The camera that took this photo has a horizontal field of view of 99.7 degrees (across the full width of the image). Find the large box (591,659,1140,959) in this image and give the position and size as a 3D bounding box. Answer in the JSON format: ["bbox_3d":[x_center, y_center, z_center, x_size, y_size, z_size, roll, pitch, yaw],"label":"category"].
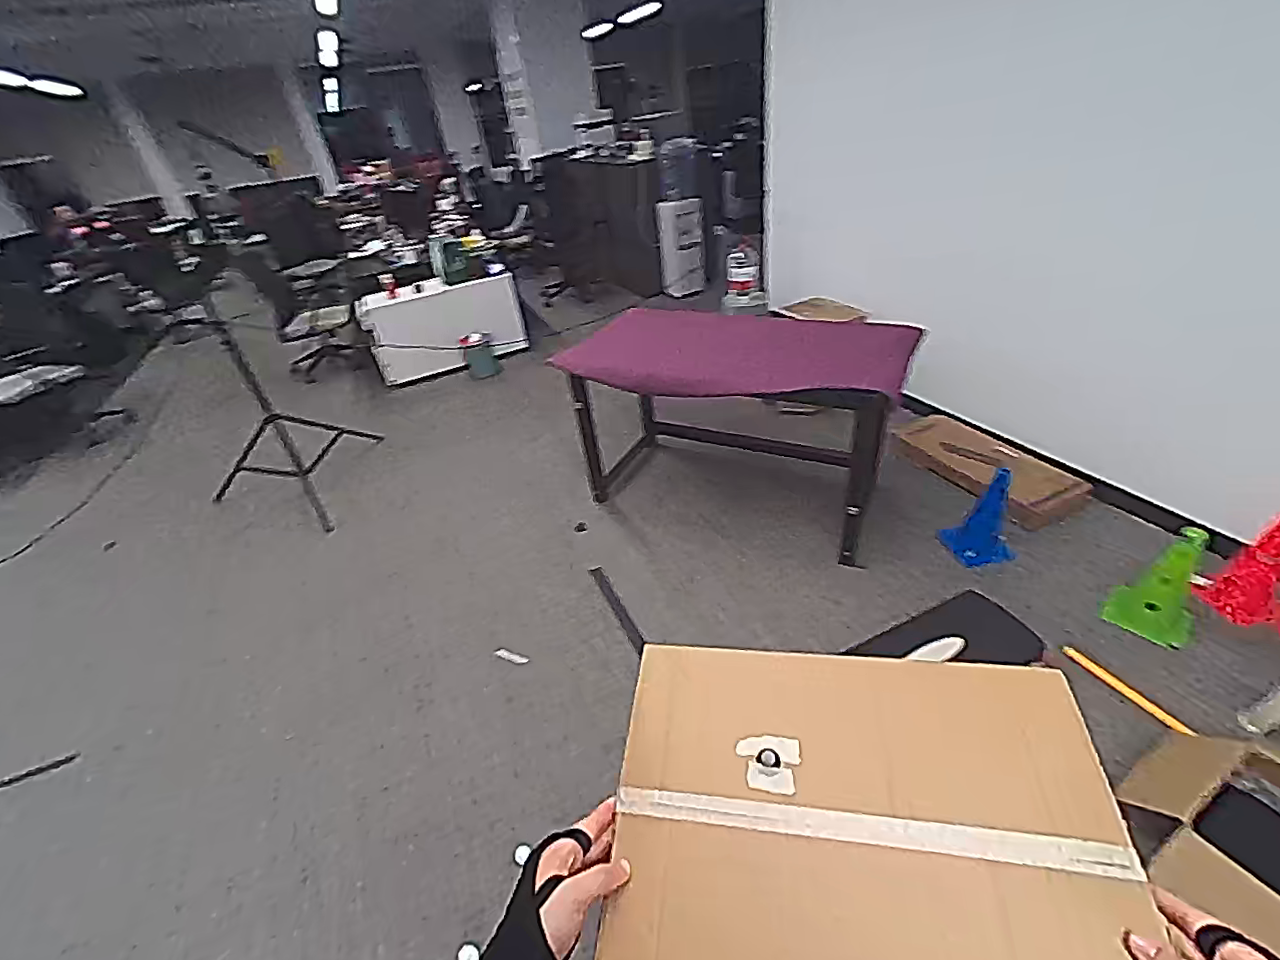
[{"bbox_3d":[0.197,0.405,0.567,0.408,0.320,0.320,-2,44,14],"label":"large box"}]
